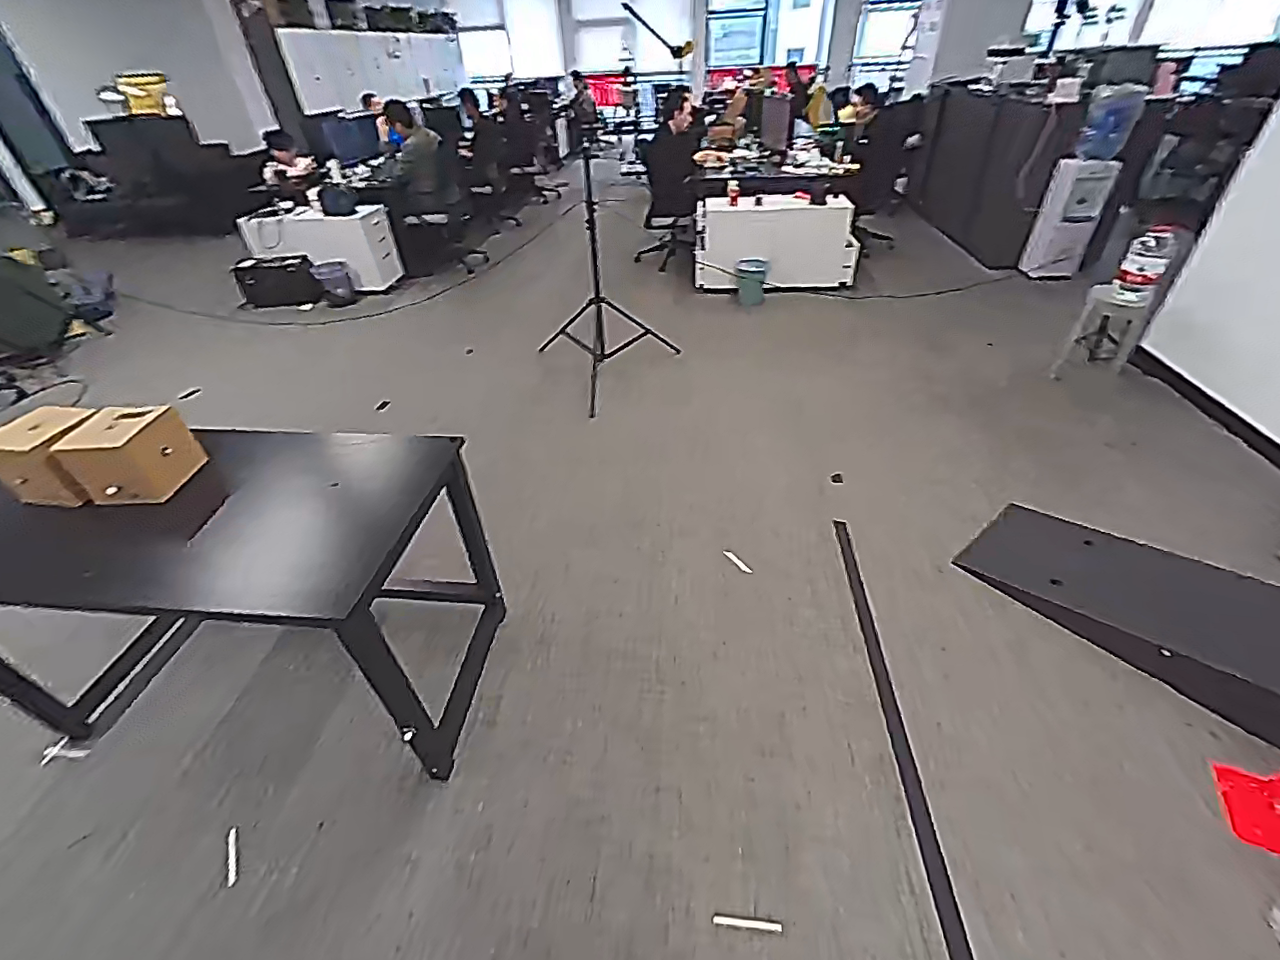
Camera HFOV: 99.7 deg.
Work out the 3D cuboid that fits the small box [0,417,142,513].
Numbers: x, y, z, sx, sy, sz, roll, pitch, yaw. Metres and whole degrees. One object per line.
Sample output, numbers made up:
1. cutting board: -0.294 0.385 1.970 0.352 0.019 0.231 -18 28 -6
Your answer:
1. small box: -1.402 -0.036 1.327 0.168 0.176 0.179 4 38 8
